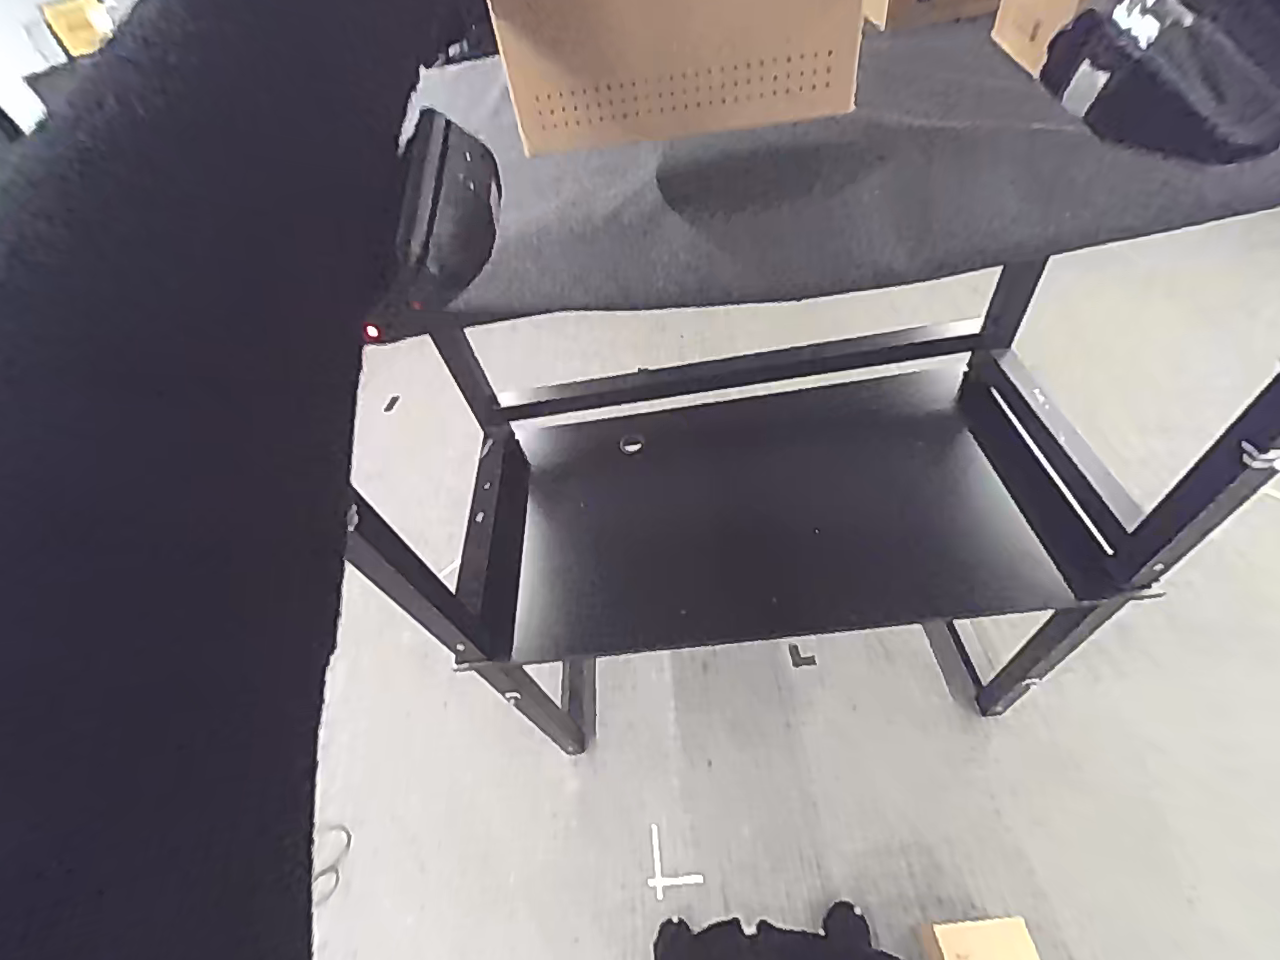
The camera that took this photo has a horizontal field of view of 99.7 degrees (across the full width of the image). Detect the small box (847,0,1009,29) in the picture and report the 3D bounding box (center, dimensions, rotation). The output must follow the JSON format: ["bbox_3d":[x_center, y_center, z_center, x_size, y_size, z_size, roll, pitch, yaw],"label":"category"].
[{"bbox_3d":[0.317,-0.585,0.543,0.168,0.176,0.179,-6,49,8],"label":"small box"}]

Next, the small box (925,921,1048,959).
[{"bbox_3d":[0.700,0.987,1.070,0.179,0.176,0.168,-10,49,5],"label":"small box"}]

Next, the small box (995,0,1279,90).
[{"bbox_3d":[0.385,-0.402,0.373,0.179,0.176,0.168,-1,49,14],"label":"small box"}]
